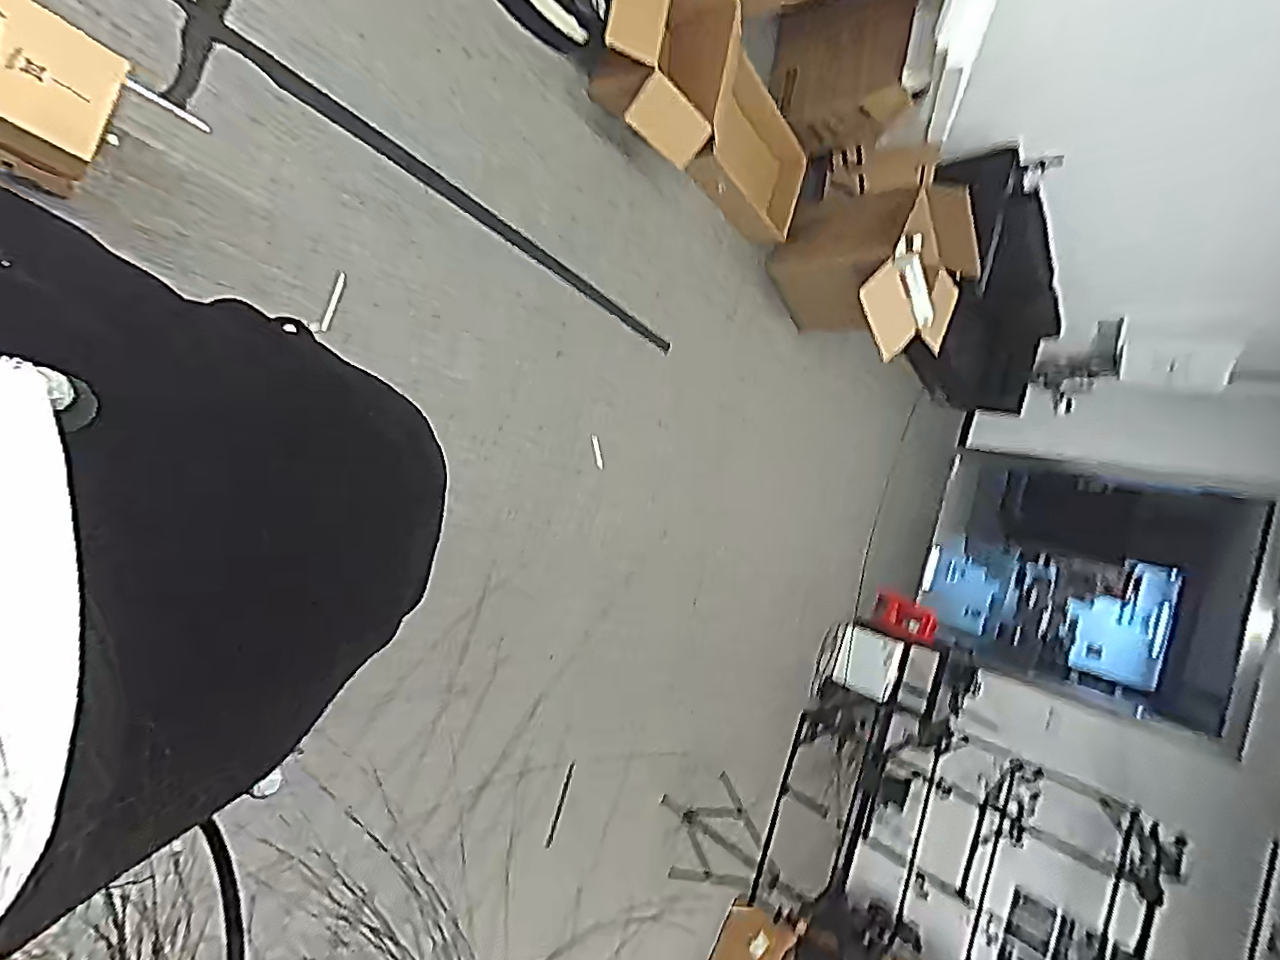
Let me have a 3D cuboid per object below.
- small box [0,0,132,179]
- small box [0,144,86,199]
[{"bbox_3d":[-0.891,-0.573,0.786,0.179,0.176,0.168,24,83,-48],"label":"small box"},{"bbox_3d":[-1.015,-0.598,0.894,0.168,0.176,0.179,24,83,-48],"label":"small box"}]
